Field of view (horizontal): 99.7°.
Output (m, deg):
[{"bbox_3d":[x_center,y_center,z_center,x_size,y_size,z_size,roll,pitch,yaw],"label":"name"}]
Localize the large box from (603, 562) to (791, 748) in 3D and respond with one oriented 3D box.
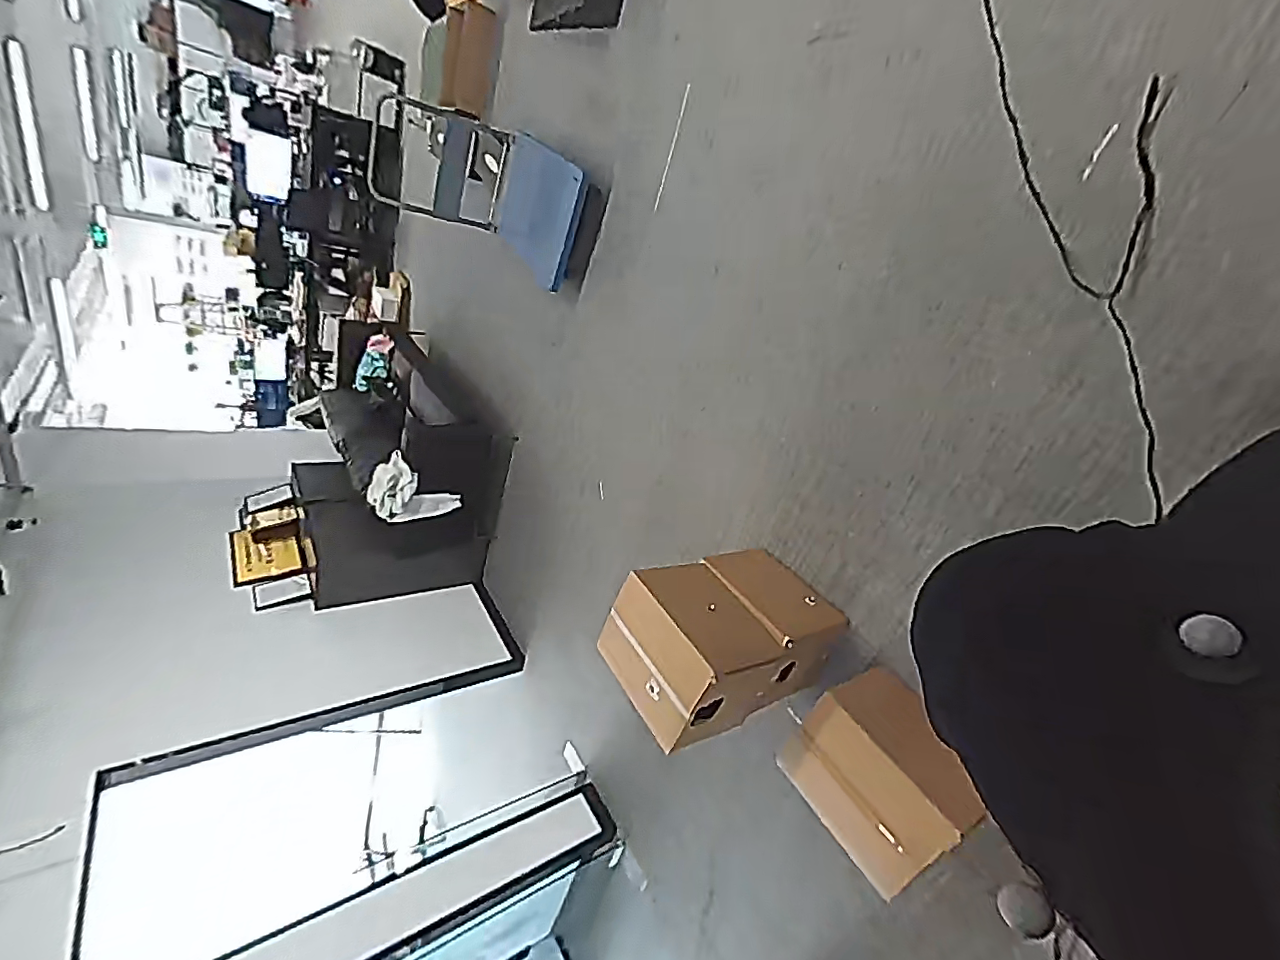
[{"bbox_3d":[0.156,0.490,1.606,0.408,0.320,0.320,45,122,41],"label":"large box"}]
